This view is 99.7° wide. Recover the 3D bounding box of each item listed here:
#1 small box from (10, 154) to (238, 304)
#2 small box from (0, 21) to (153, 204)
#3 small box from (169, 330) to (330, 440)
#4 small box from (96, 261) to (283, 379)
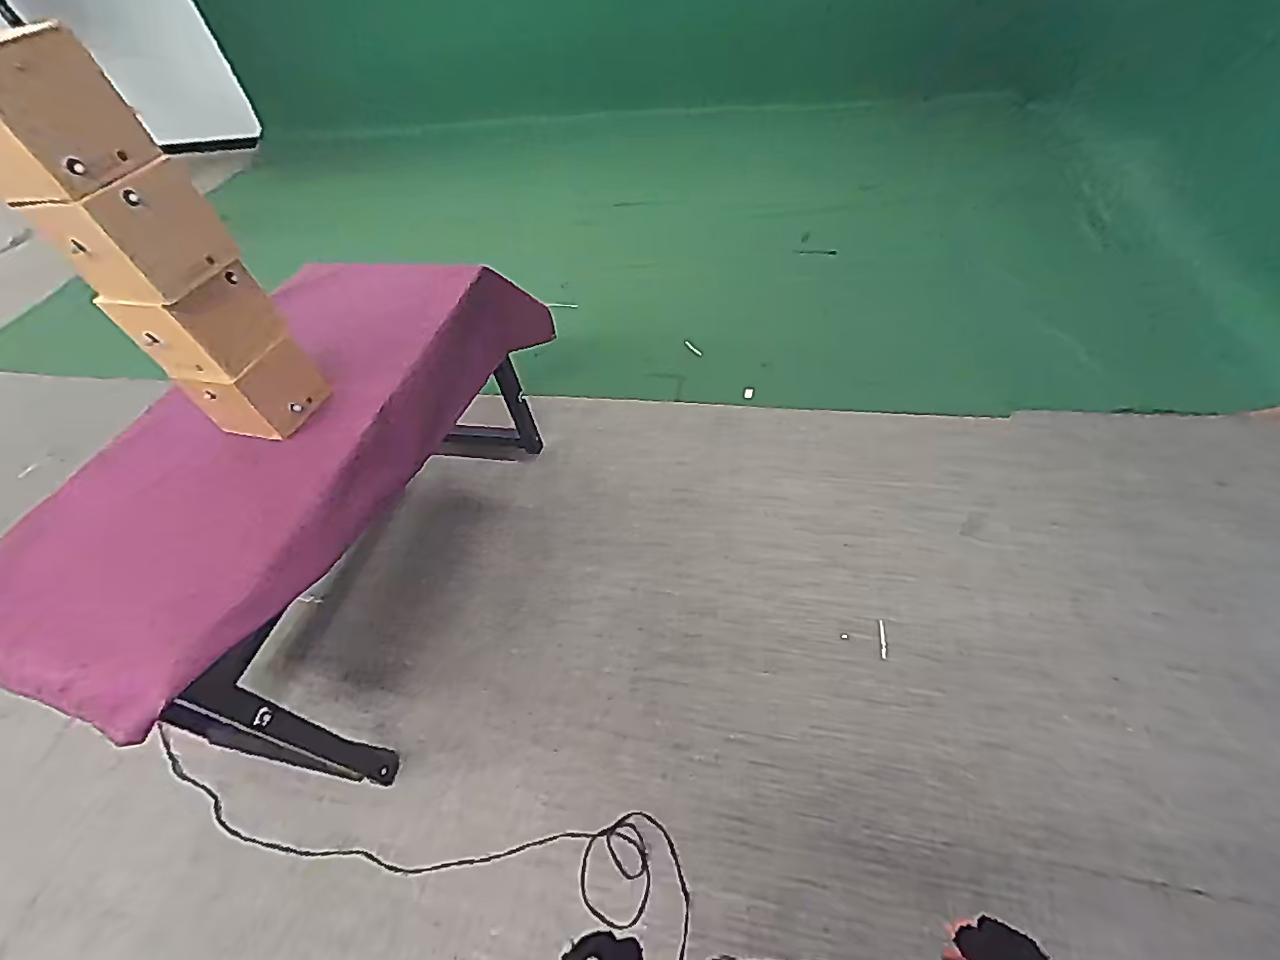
[{"bbox_3d":[-0.830,-0.408,0.889,0.179,0.176,0.168,9,54,18],"label":"small box"},{"bbox_3d":[-0.866,-0.511,0.763,0.179,0.176,0.168,6,52,15],"label":"small box"},{"bbox_3d":[-0.811,-0.204,1.141,0.179,0.176,0.168,9,54,15],"label":"small box"},{"bbox_3d":[-0.831,-0.309,1.021,0.168,0.176,0.179,8,53,15],"label":"small box"}]
